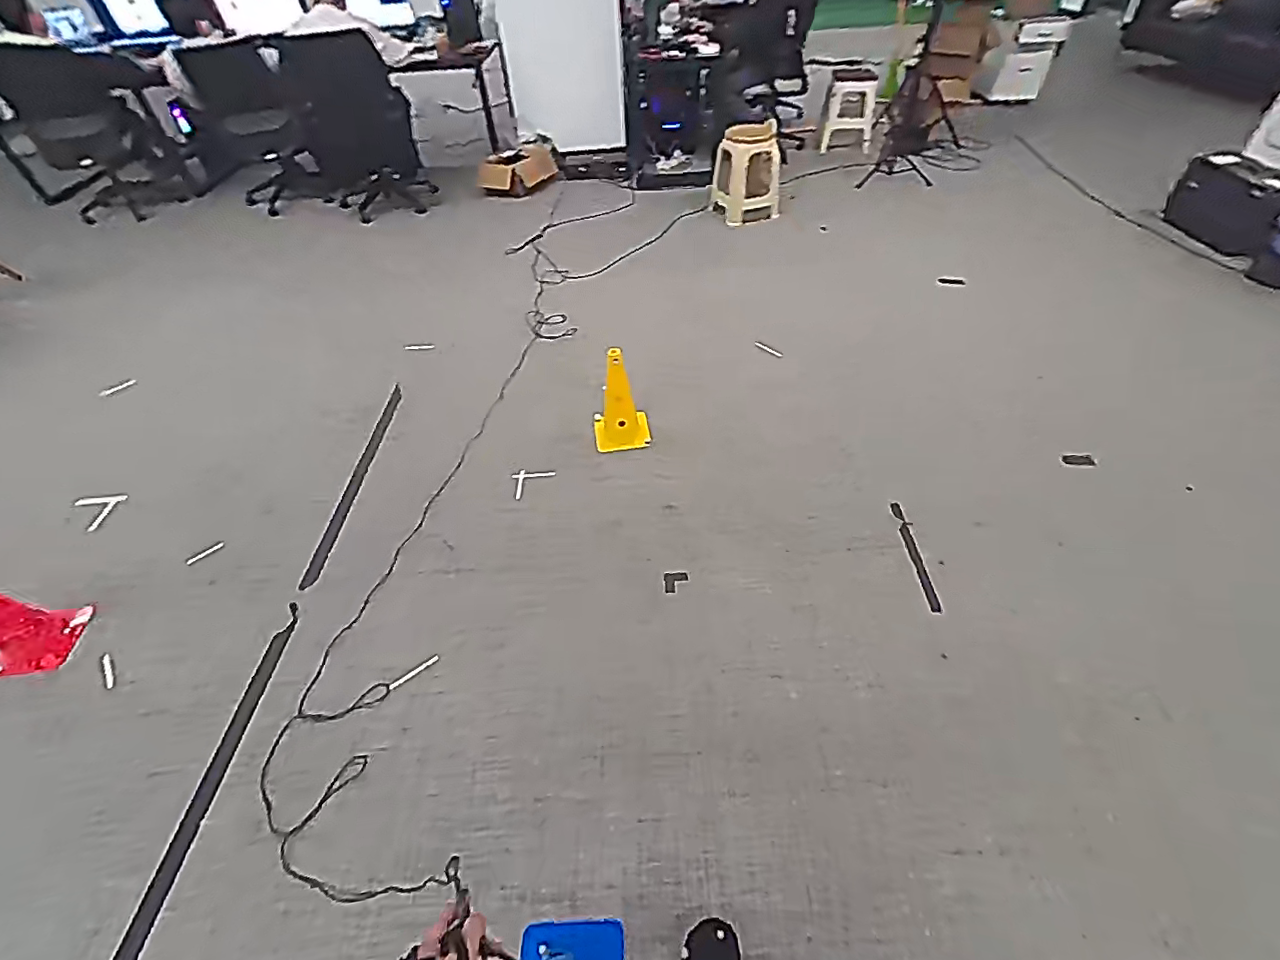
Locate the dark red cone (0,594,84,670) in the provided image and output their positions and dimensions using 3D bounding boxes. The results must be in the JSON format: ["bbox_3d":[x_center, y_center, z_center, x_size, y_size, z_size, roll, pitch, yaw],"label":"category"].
[{"bbox_3d":[-1.725,0.333,1.413,0.201,0.394,0.202,-8,46,-5],"label":"dark red cone"}]

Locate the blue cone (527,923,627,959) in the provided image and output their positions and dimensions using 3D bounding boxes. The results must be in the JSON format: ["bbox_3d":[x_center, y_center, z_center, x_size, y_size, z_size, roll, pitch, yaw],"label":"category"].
[{"bbox_3d":[-0.123,0.824,0.872,0.192,0.380,0.193,-1,46,1],"label":"blue cone"}]
